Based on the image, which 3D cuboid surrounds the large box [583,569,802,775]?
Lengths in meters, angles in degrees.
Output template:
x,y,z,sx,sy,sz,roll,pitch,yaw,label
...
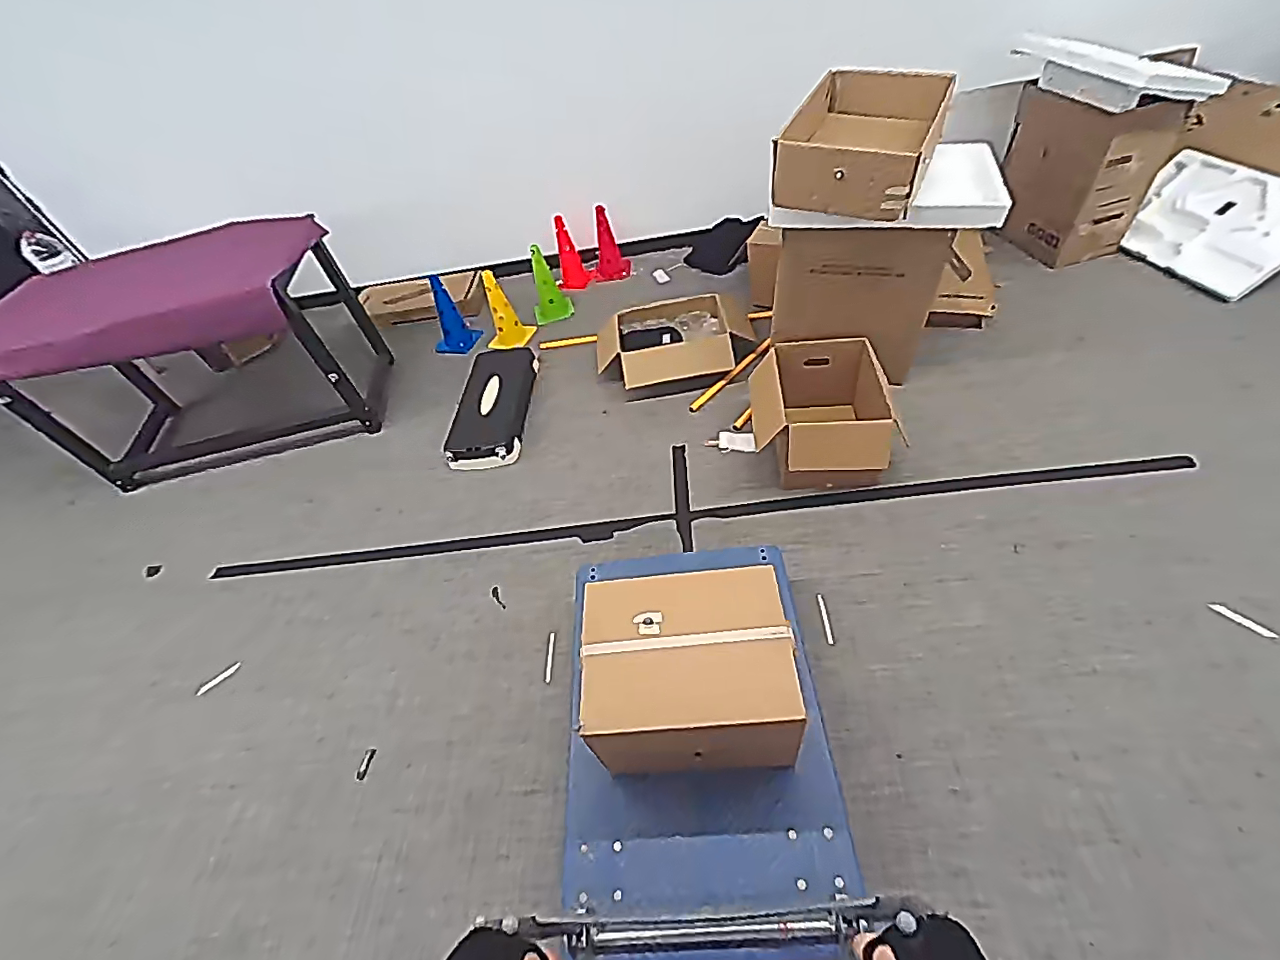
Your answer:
x,y,z,sx,sy,sz,roll,pitch,yaw,label
0.110,0.427,1.180,0.408,0.320,0.320,-8,48,6,large box
